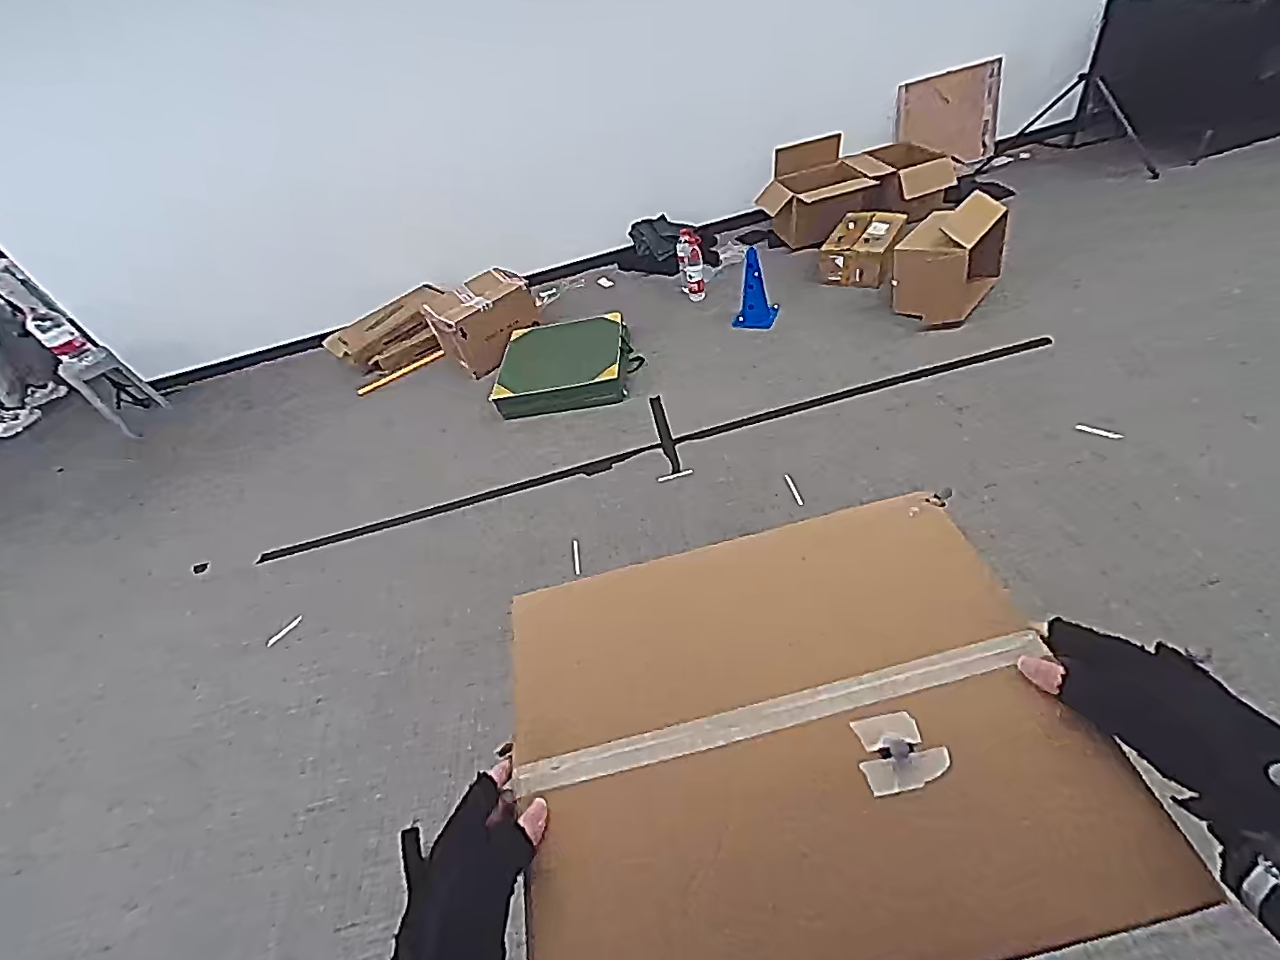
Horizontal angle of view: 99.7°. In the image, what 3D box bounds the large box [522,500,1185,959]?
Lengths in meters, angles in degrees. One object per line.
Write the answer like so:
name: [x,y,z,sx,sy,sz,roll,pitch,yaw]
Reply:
large box: [0.132,0.276,0.530,0.408,0.320,0.320,-15,50,-1]
